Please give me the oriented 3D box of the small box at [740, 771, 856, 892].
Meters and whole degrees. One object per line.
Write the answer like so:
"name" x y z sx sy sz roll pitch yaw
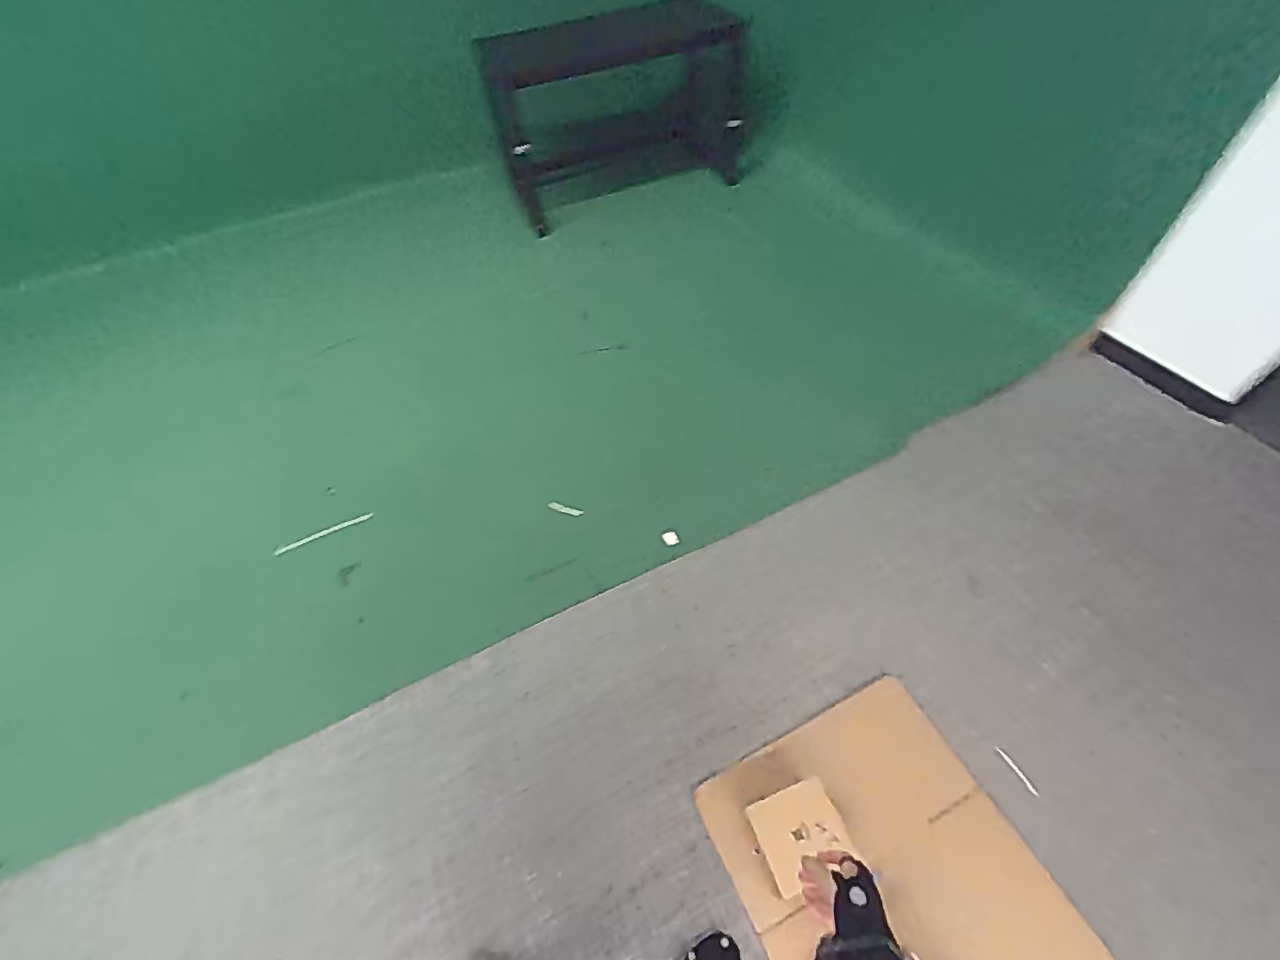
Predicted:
"small box" 0.325 0.751 1.154 0.179 0.176 0.168 -18 55 -9
